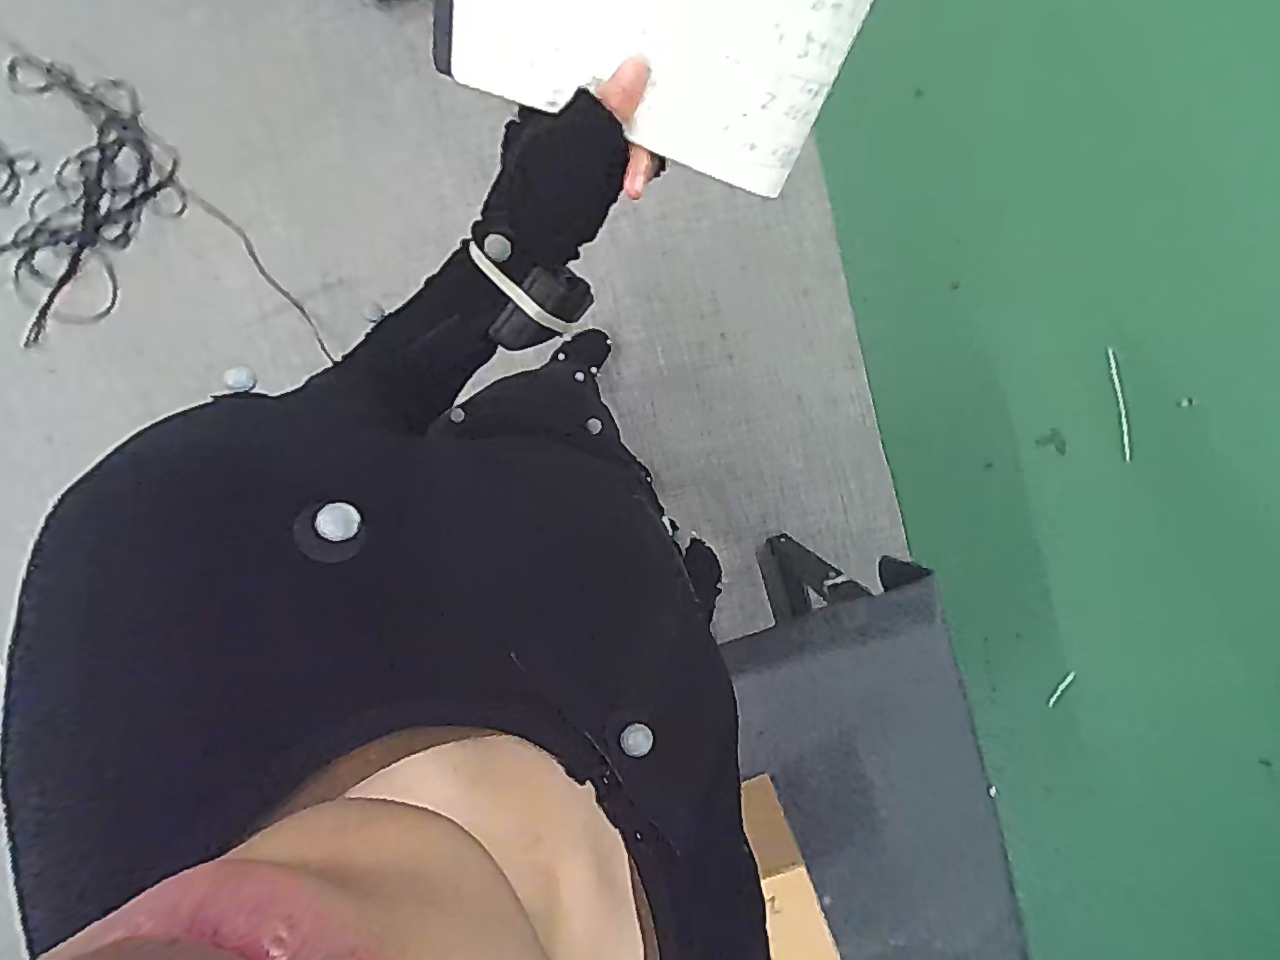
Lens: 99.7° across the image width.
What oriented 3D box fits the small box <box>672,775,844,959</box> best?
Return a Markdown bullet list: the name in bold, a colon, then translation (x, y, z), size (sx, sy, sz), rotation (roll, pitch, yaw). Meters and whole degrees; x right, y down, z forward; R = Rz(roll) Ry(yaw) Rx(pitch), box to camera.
- **small box**: translation (0.150, 0.542, 0.720), size (0.168, 0.176, 0.179), rotation (-21, 96, 1)
